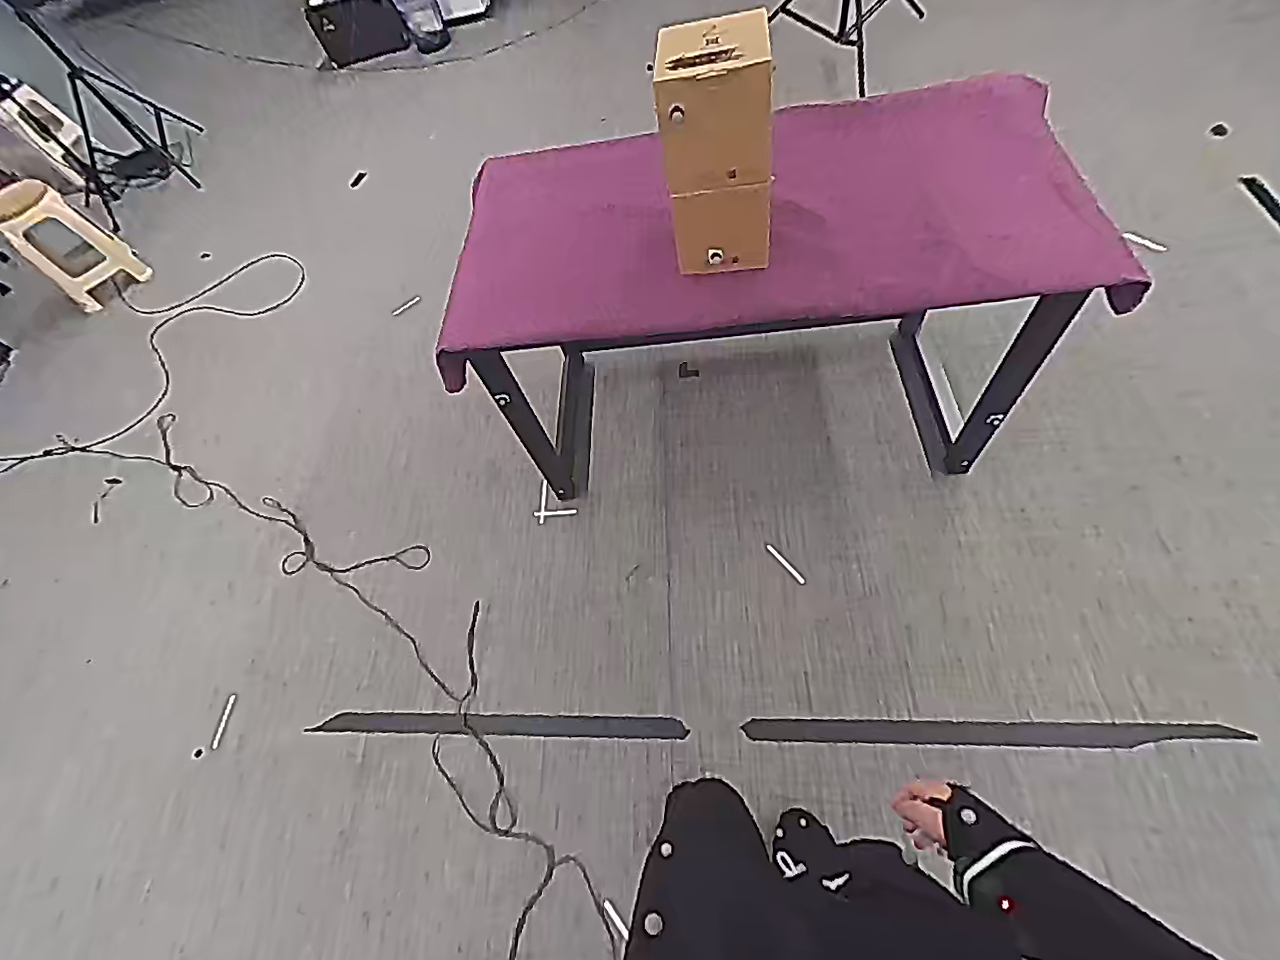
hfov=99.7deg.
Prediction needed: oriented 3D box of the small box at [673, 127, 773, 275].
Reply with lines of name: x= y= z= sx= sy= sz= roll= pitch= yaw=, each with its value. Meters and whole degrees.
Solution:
small box: x=0.153 y=-0.507 z=0.993 sx=0.168 sy=0.176 sz=0.179 roll=-2 pitch=61 yaw=11
